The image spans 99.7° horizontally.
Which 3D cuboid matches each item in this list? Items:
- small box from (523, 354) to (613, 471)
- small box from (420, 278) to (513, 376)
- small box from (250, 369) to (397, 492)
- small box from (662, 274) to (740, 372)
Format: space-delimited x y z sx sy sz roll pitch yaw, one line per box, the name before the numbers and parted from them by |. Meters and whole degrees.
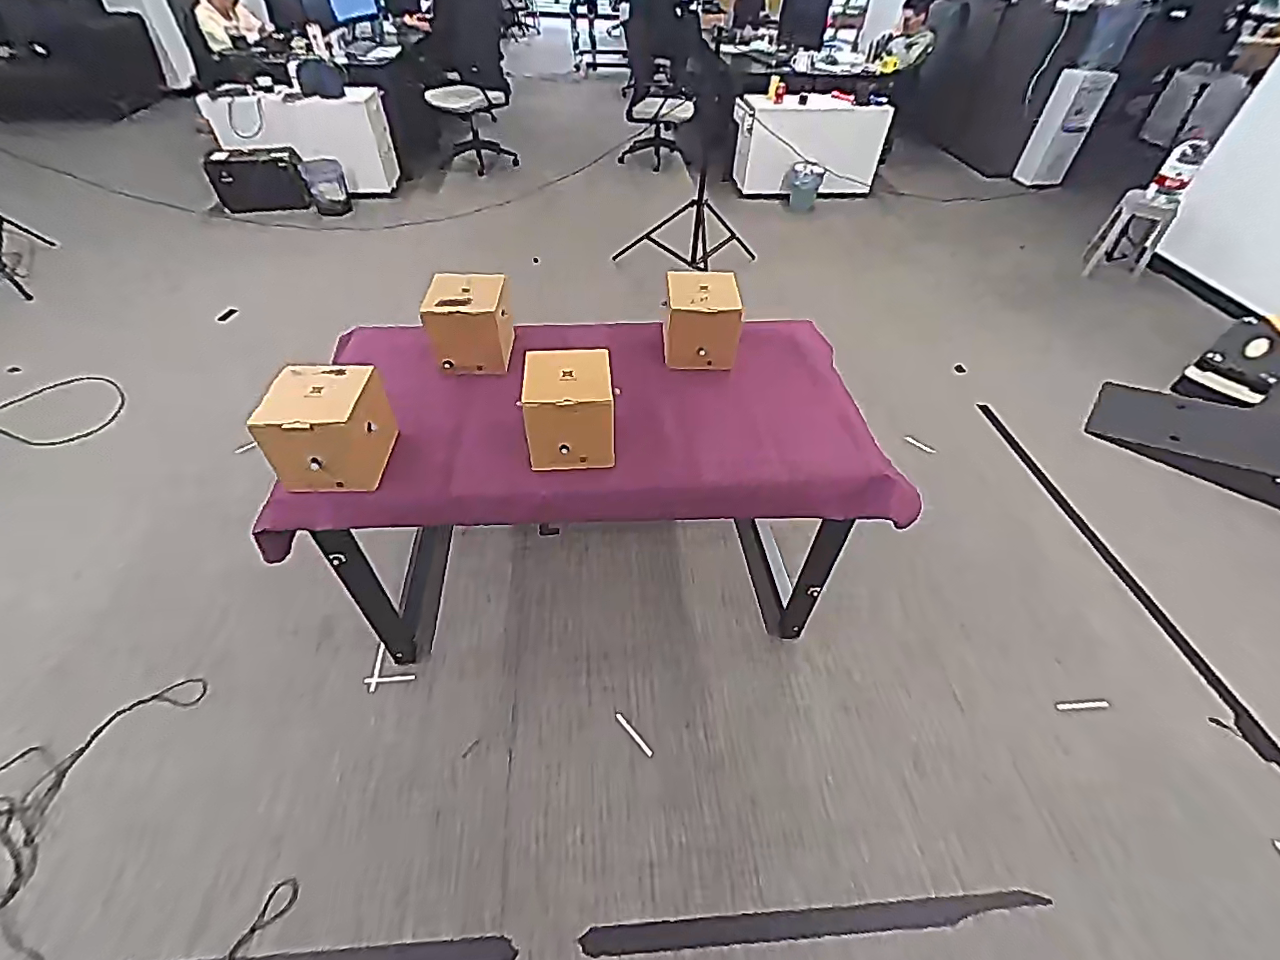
small box | -0.142 -0.137 1.093 0.168 0.176 0.179 -3 46 -5
small box | -0.404 -0.365 1.296 0.168 0.176 0.179 0 47 -3
small box | -0.583 -0.090 1.026 0.168 0.176 0.179 -1 46 -4
small box | 0.144 -0.389 1.338 0.168 0.176 0.179 0 49 -1
